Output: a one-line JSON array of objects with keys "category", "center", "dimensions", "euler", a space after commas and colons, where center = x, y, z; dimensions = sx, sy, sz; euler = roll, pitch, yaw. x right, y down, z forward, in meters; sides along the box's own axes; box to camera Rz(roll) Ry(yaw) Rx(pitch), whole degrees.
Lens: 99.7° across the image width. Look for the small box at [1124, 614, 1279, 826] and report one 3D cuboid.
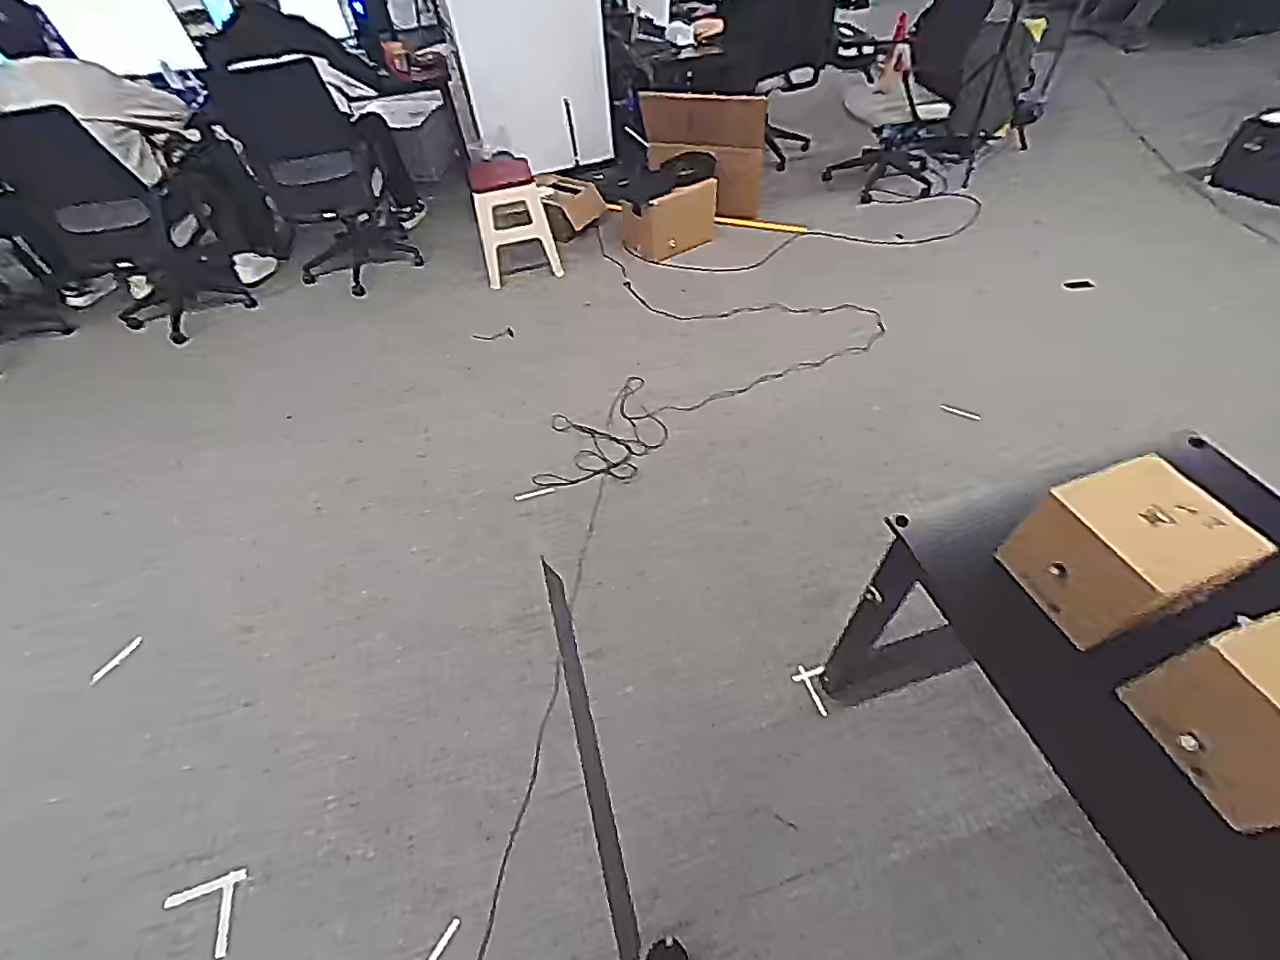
[{"category": "small box", "center": [0.716, 0.259, 0.602], "dimensions": [0.179, 0.176, 0.168], "euler": [-16, 51, -7]}]
